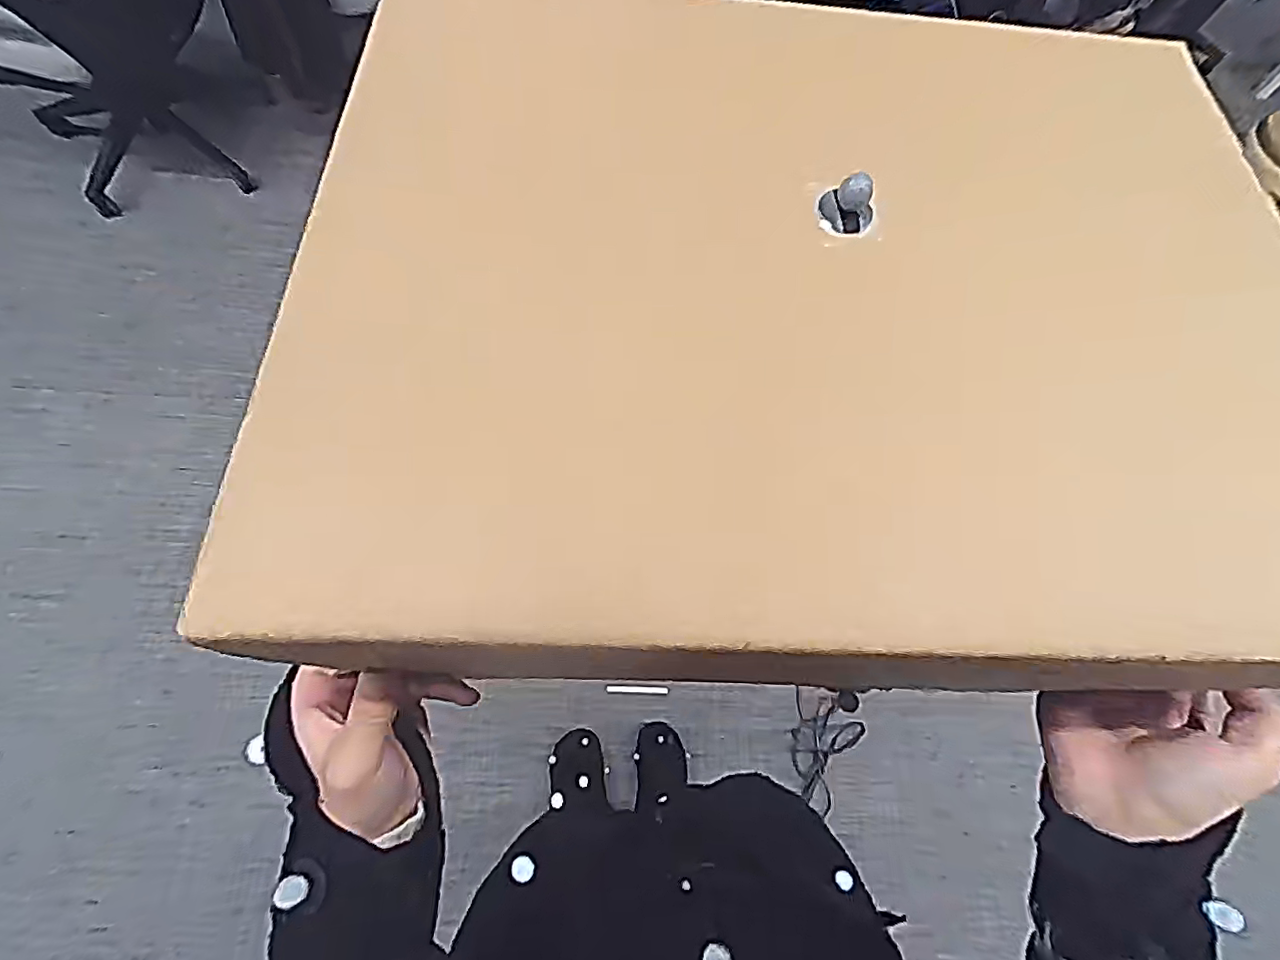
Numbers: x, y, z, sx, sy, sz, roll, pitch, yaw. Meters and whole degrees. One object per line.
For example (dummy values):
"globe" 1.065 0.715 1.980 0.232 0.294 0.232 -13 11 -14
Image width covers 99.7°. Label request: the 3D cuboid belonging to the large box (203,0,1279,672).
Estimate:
"large box" 0.065 -0.047 0.350 0.408 0.320 0.320 1 70 -3
